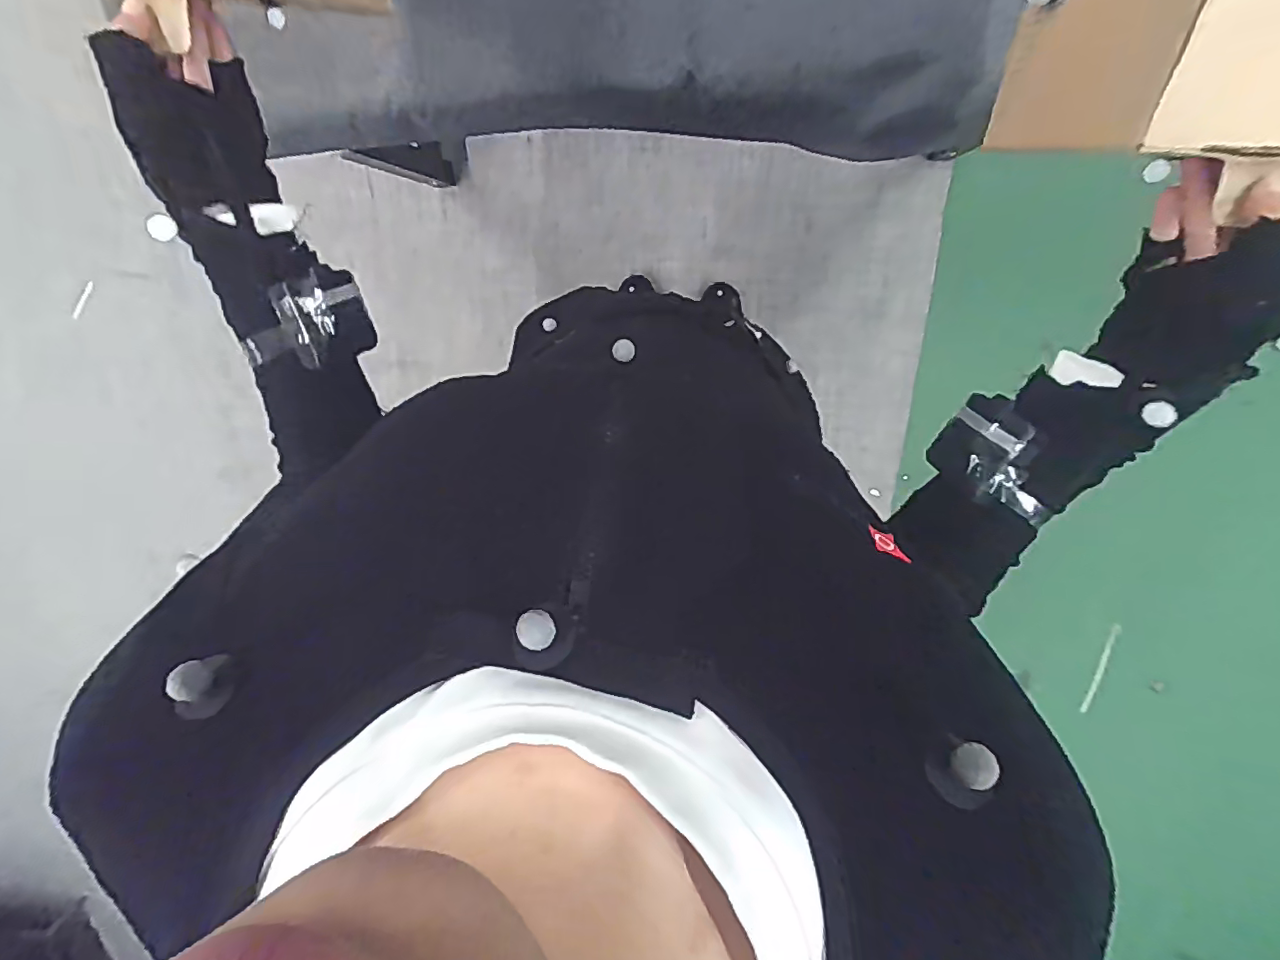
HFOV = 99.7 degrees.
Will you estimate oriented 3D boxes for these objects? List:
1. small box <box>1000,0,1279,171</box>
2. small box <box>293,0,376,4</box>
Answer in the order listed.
[{"bbox_3d":[0.343,-0.278,0.301,0.168,0.176,0.179,2,123,1],"label":"small box"},{"bbox_3d":[-0.285,-0.414,0.328,0.168,0.176,0.179,5,125,4],"label":"small box"}]
